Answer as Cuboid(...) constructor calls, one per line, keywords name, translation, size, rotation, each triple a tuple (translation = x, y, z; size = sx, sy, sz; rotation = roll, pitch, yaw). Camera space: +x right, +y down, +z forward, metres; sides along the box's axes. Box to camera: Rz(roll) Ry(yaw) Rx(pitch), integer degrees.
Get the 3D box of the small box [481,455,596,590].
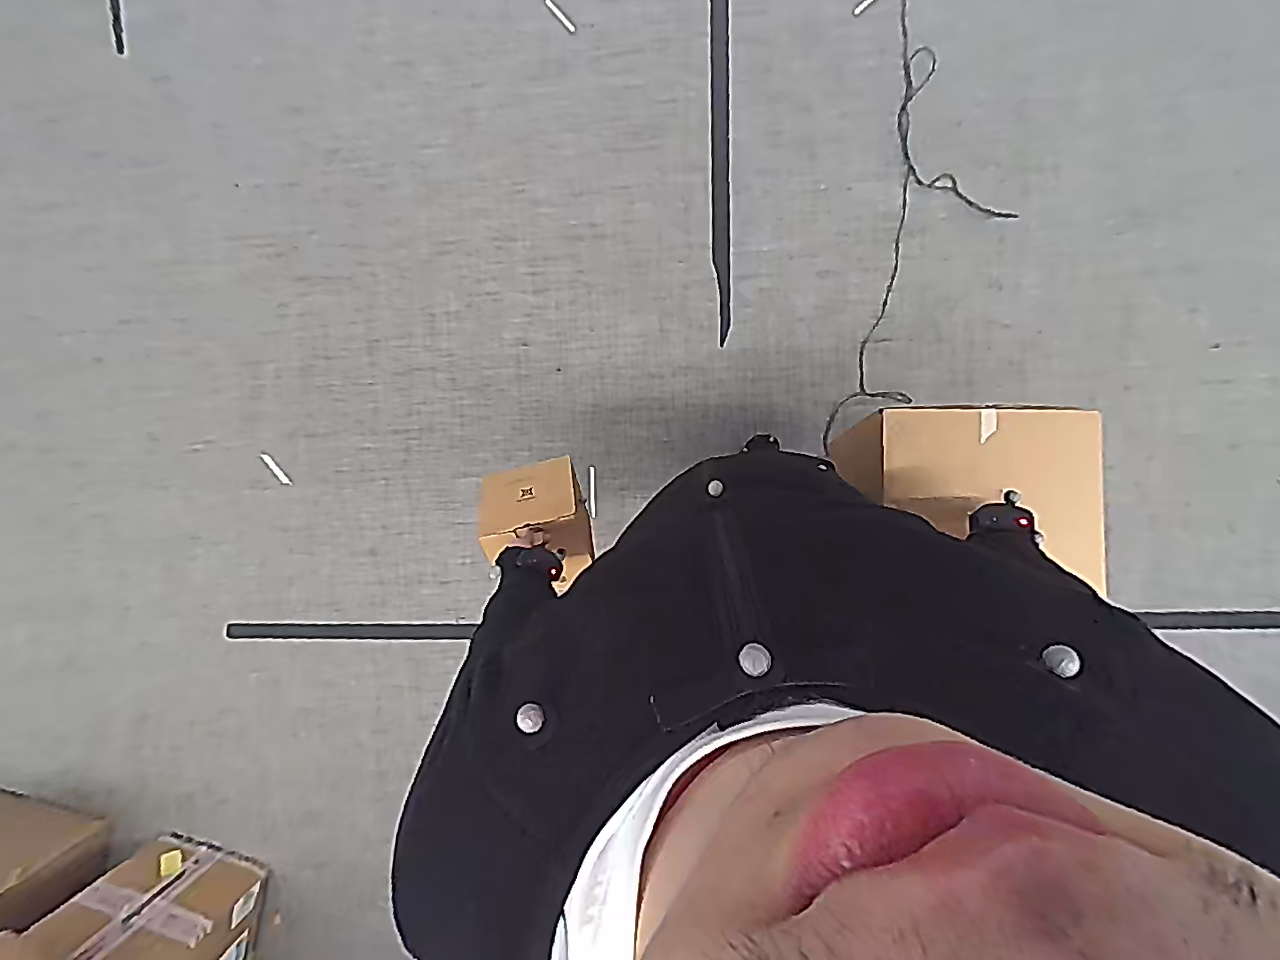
Cuboid(name="small box", translation=(-0.184, 0.085, 1.004), size=(0.168, 0.179, 0.176), rotation=(-13, 128, -2))
